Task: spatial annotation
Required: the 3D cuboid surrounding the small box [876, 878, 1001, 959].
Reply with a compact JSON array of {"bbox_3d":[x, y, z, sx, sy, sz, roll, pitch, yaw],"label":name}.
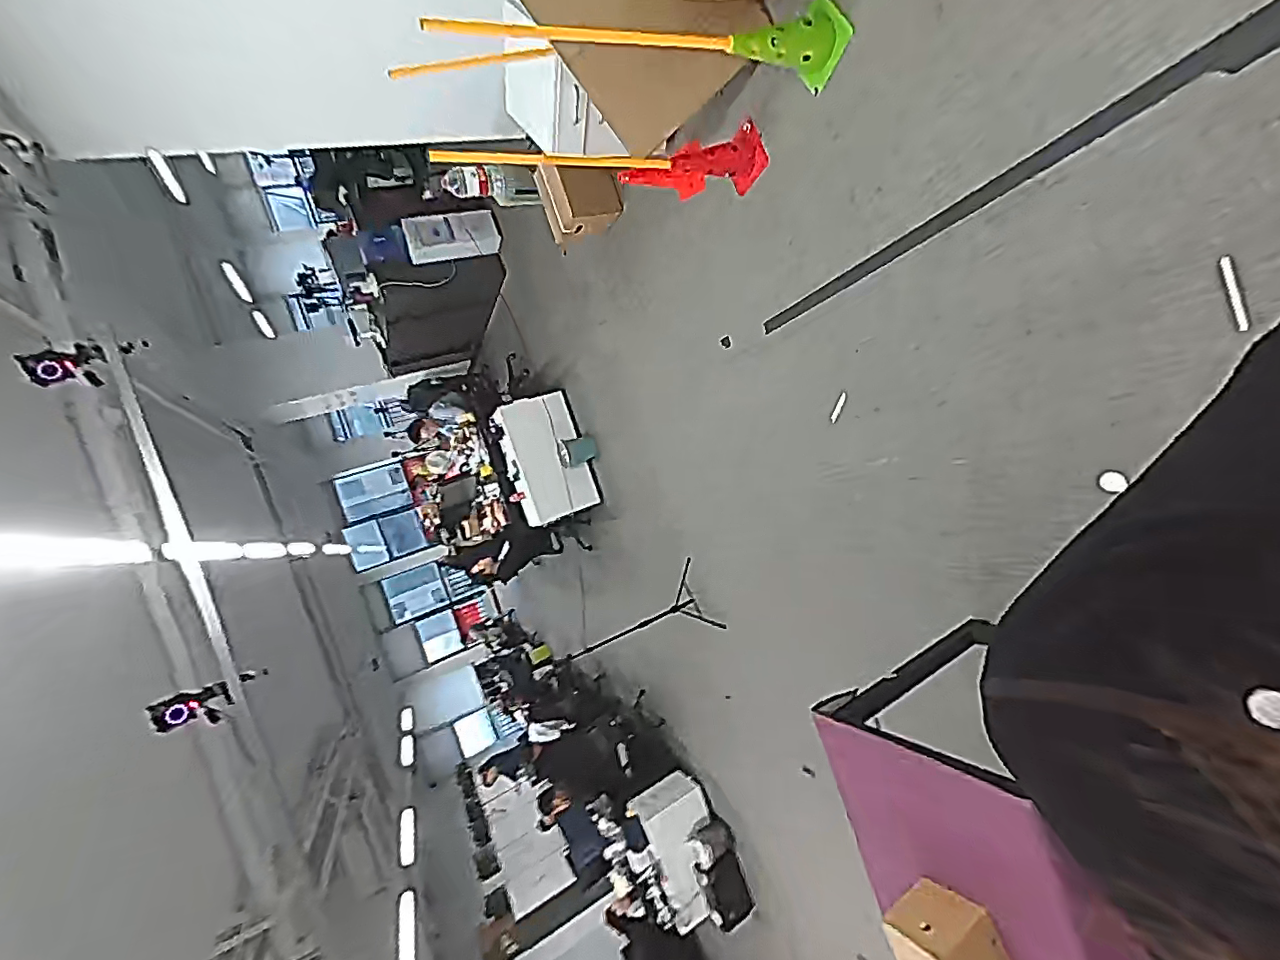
[{"bbox_3d":[0.694,1.070,1.242,0.168,0.176,0.179,68,156,6],"label":"small box"}]
